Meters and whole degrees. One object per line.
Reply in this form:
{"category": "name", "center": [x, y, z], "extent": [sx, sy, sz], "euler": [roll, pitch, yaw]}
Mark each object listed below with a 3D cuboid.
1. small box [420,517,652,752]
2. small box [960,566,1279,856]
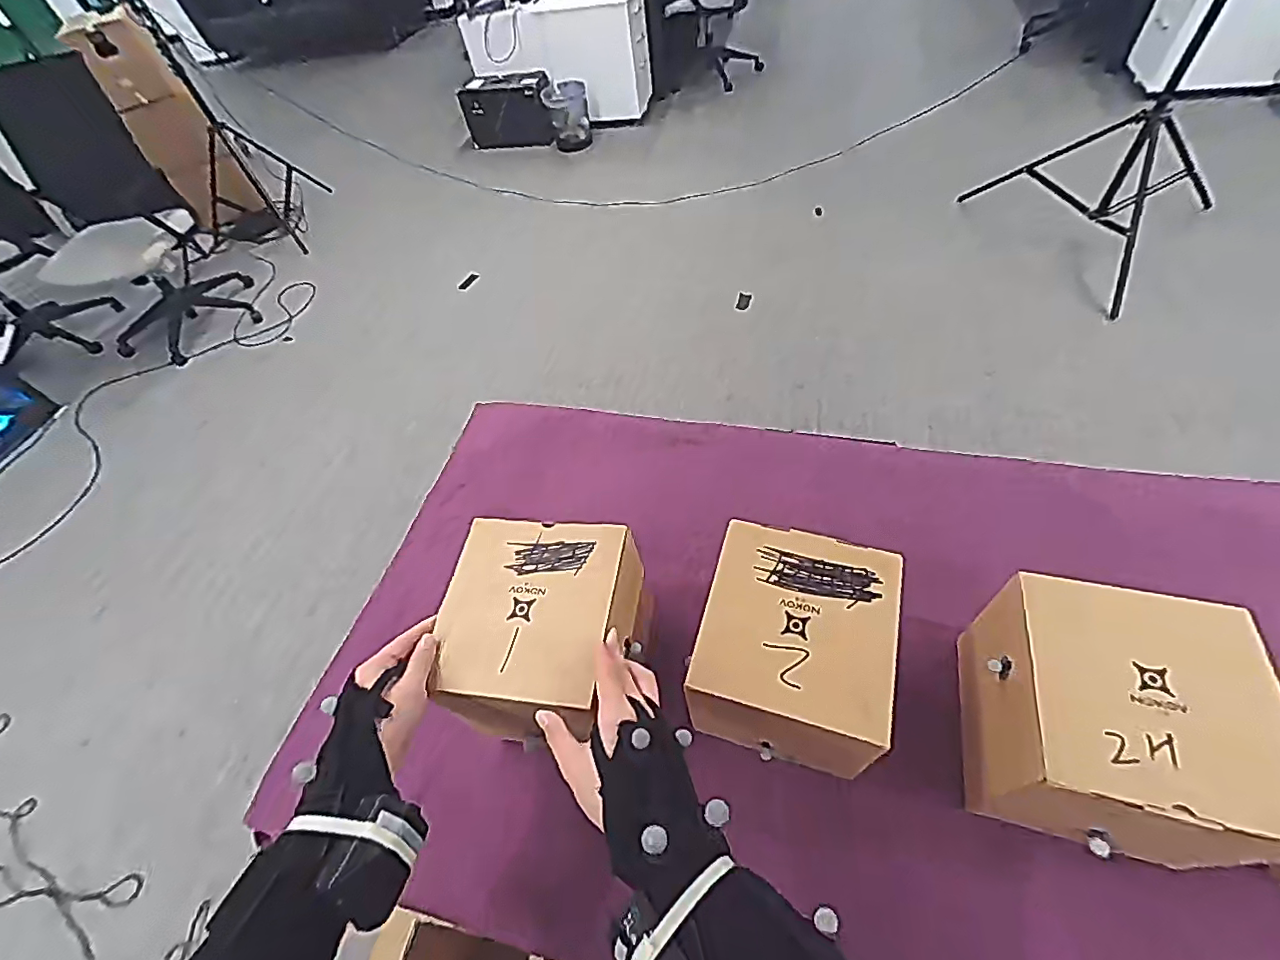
{"category": "small box", "center": [-0.087, 0.159, 0.560], "extent": [0.168, 0.176, 0.179], "euler": [2, 53, 14]}
{"category": "small box", "center": [0.401, 0.204, 0.478], "extent": [0.168, 0.176, 0.179], "euler": [8, 55, 16]}
